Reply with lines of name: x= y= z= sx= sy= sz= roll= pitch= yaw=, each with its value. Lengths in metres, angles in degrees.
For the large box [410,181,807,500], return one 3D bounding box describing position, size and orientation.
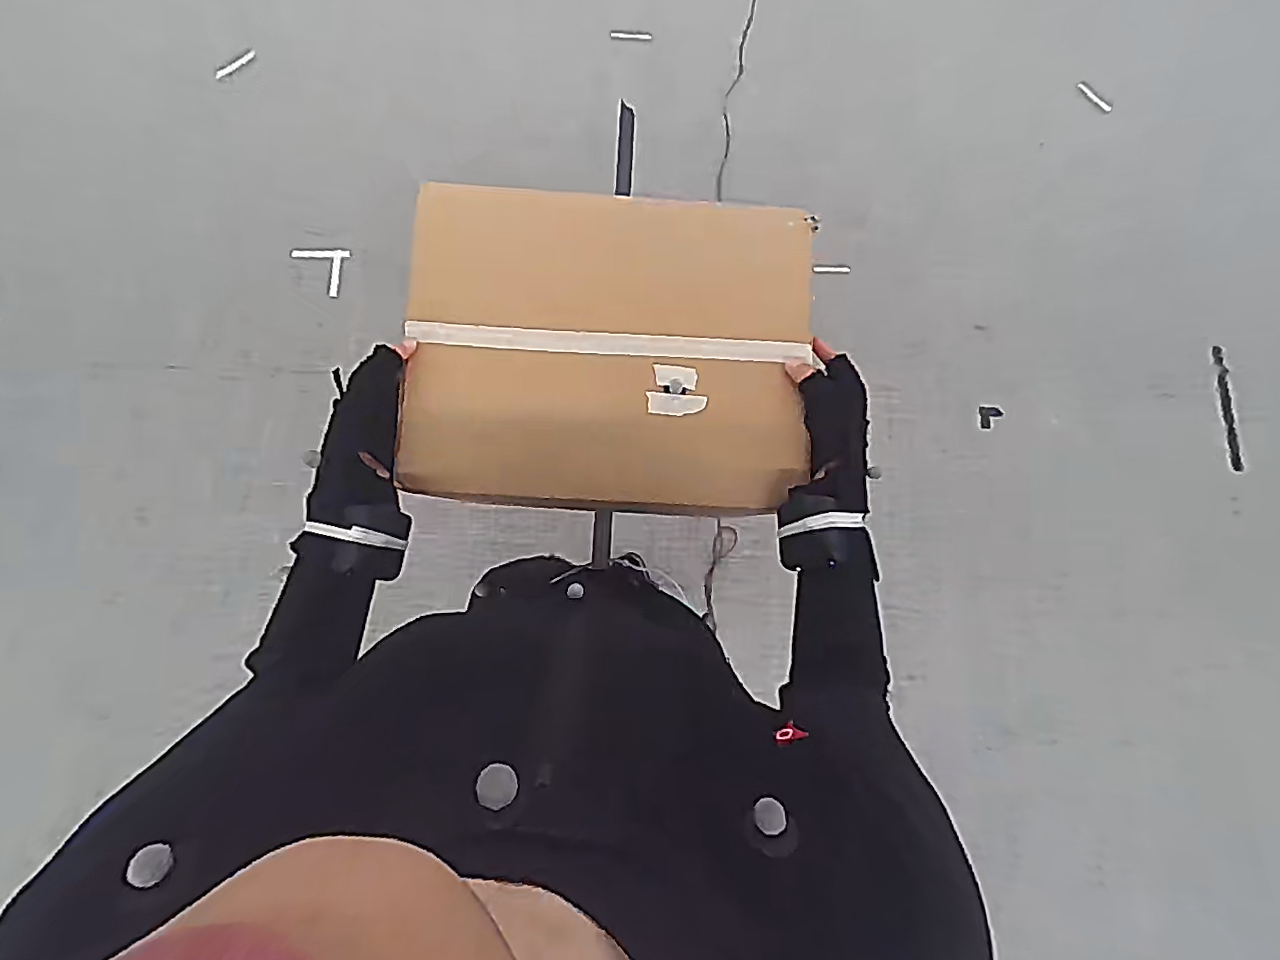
large box: x=-0.034 y=-0.139 z=0.702 sx=0.408 sy=0.320 sz=0.320 roll=3 pitch=87 yaw=-2
